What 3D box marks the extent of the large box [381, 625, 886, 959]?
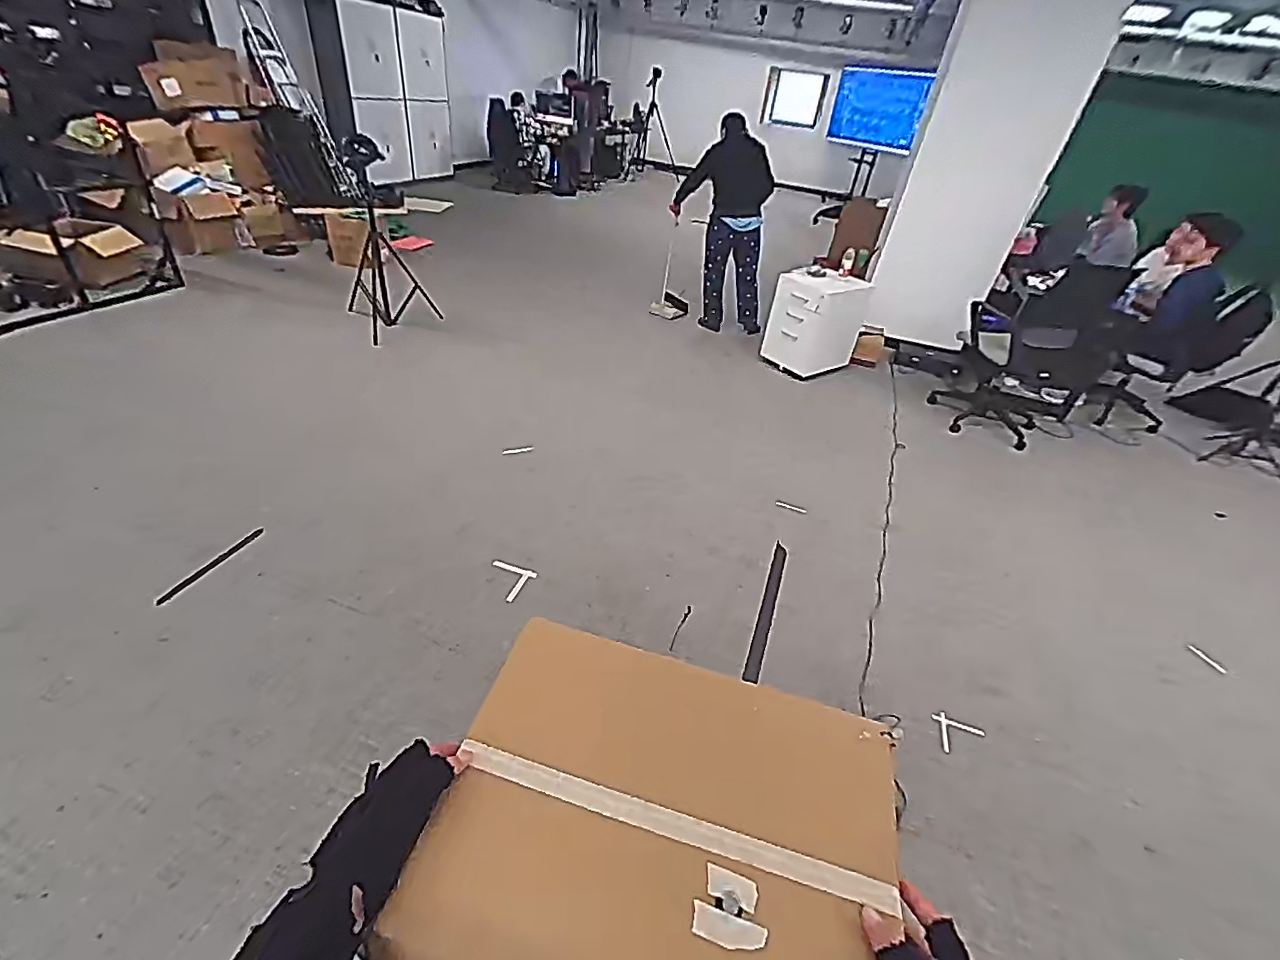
[{"bbox_3d":[0.011,0.421,0.602,0.408,0.320,0.320,14,44,10],"label":"large box"}]
